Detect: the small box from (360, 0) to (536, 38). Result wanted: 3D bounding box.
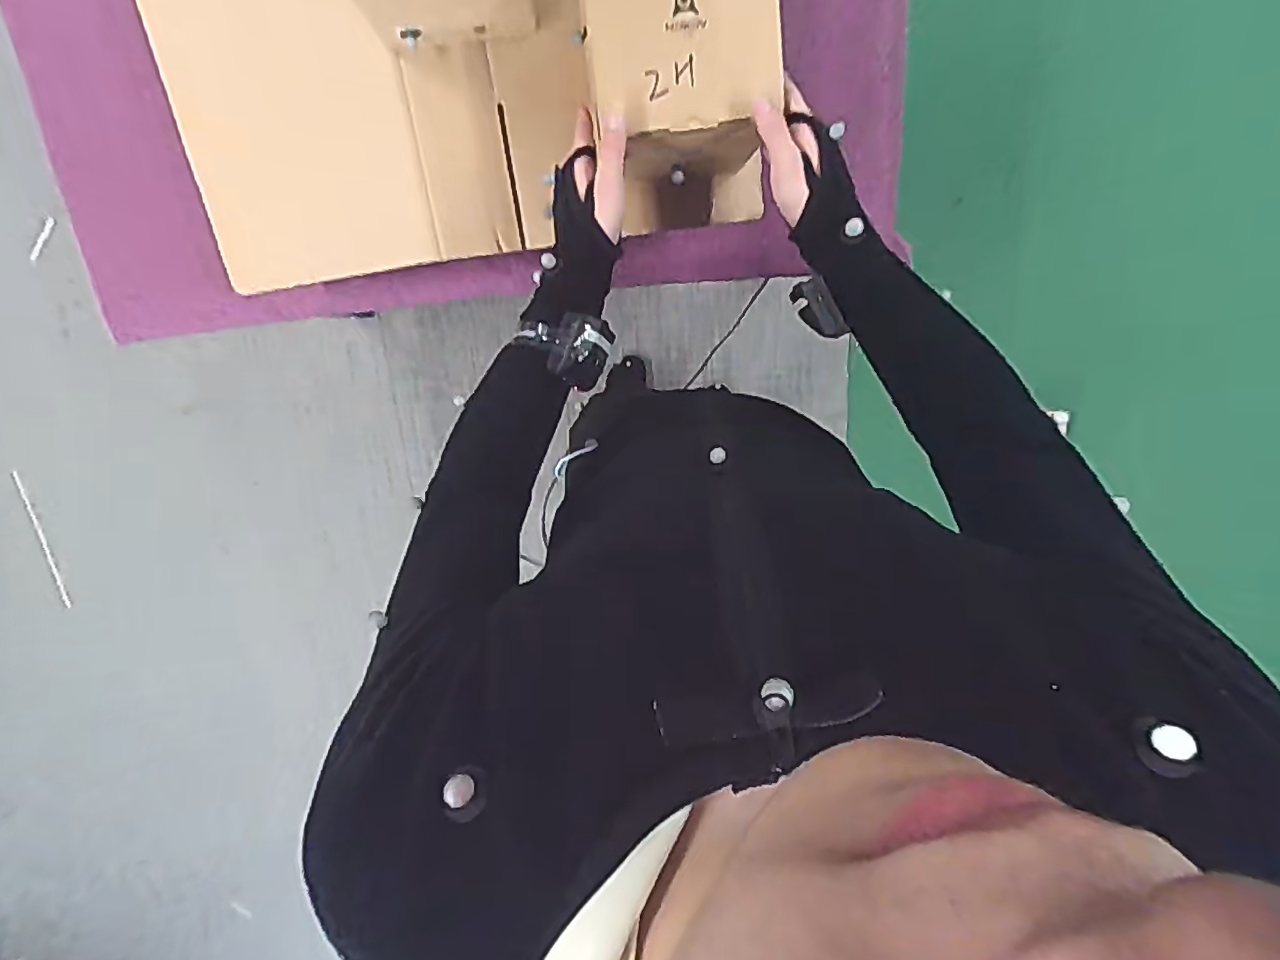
[{"bbox_3d":[-0.195,-0.538,0.485,0.168,0.176,0.179,-9,104,-2],"label":"small box"}]

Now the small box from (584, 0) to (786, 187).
[{"bbox_3d":[0.034,-0.414,0.532,0.168,0.176,0.179,-7,105,-1],"label":"small box"}]
